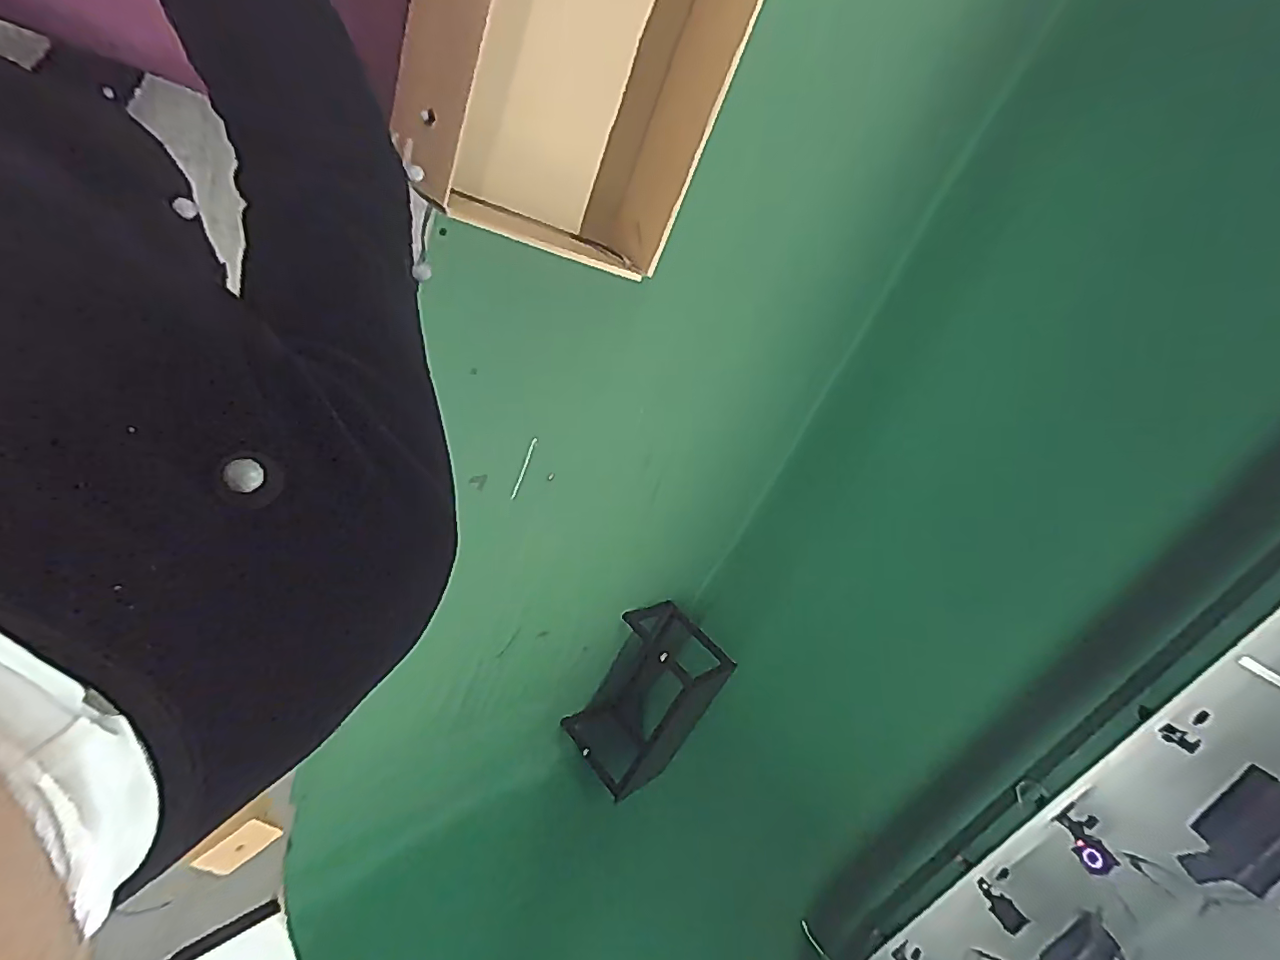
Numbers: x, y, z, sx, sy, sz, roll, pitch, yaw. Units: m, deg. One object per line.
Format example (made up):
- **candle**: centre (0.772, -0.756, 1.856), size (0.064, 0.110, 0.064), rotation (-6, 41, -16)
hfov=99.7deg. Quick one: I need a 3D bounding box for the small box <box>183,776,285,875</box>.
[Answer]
- **small box**: centre (-1.197, 1.014, 1.596), size (0.168, 0.176, 0.179), rotation (-33, 143, -26)
